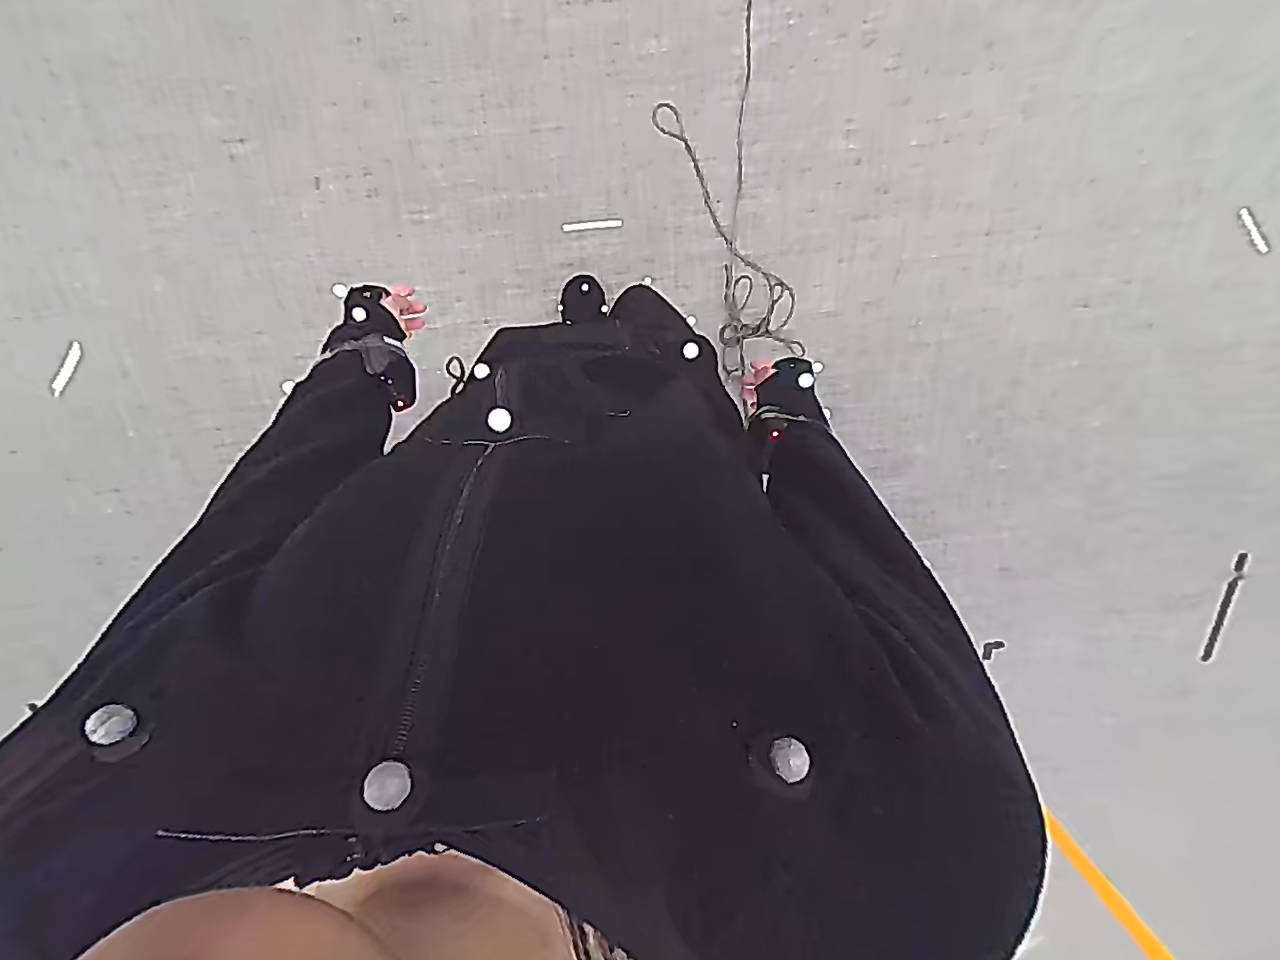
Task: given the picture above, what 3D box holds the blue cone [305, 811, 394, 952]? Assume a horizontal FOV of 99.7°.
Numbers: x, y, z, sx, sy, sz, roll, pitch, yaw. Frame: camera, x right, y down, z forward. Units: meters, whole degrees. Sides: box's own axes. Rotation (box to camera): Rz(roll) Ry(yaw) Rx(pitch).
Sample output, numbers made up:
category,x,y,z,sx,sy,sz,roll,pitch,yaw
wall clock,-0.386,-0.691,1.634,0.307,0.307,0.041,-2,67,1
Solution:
category,x,y,z,sx,sy,sz,roll,pitch,yaw
blue cone,-0.947,1.277,1.715,0.193,0.380,0.192,-3,110,-2
